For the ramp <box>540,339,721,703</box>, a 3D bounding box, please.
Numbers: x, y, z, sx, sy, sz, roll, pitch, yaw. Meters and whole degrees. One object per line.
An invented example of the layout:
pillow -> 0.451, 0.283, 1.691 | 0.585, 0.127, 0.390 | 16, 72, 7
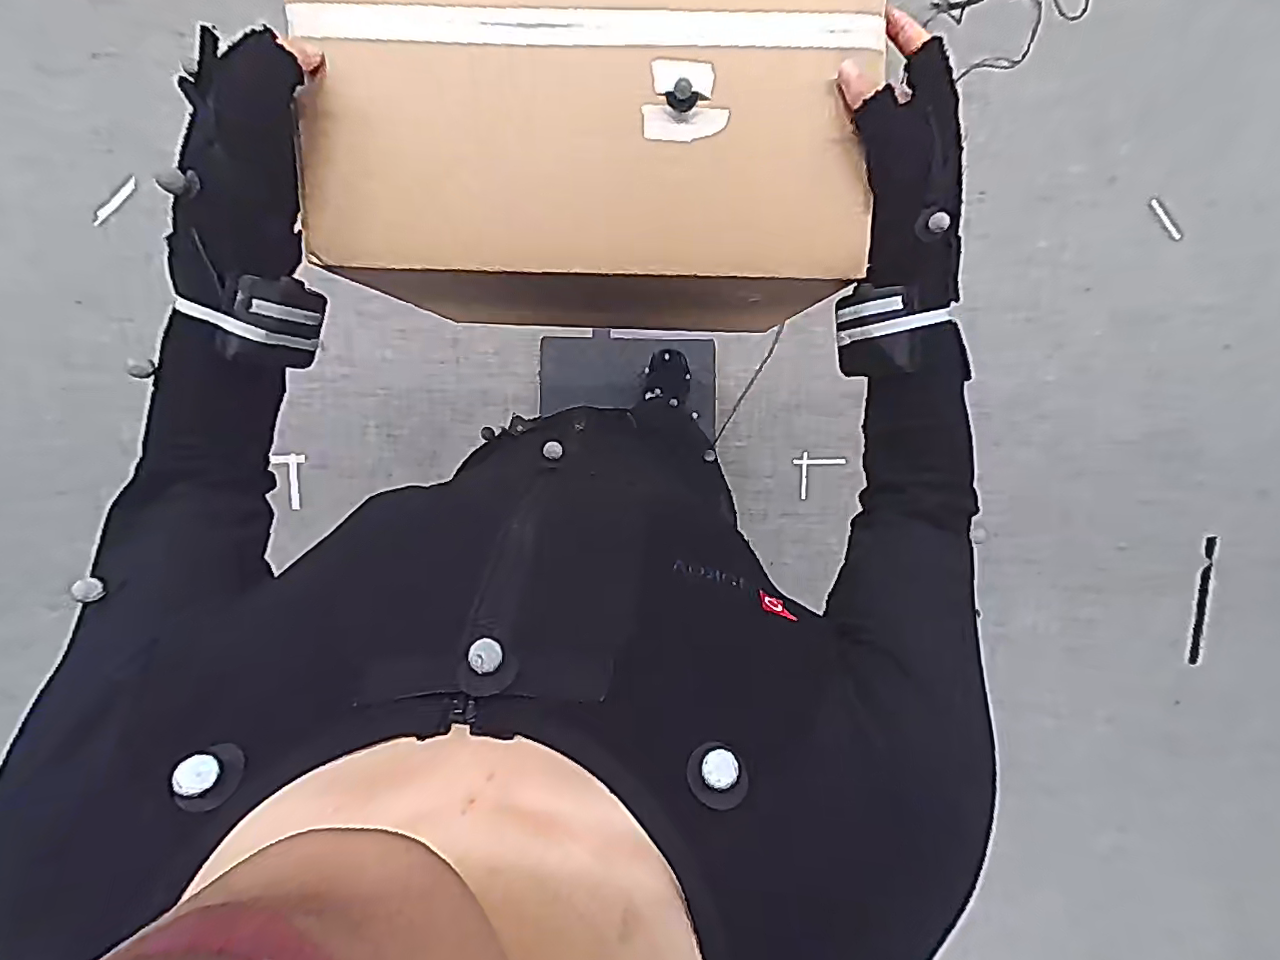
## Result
ramp -> -0.027, 0.098, 1.489 | 0.509, 0.206, 0.991 | -1, 95, 0

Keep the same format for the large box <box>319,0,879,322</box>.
large box -> -0.032, -0.337, 0.532 | 0.408, 0.320, 0.320 | 1, 99, -1
